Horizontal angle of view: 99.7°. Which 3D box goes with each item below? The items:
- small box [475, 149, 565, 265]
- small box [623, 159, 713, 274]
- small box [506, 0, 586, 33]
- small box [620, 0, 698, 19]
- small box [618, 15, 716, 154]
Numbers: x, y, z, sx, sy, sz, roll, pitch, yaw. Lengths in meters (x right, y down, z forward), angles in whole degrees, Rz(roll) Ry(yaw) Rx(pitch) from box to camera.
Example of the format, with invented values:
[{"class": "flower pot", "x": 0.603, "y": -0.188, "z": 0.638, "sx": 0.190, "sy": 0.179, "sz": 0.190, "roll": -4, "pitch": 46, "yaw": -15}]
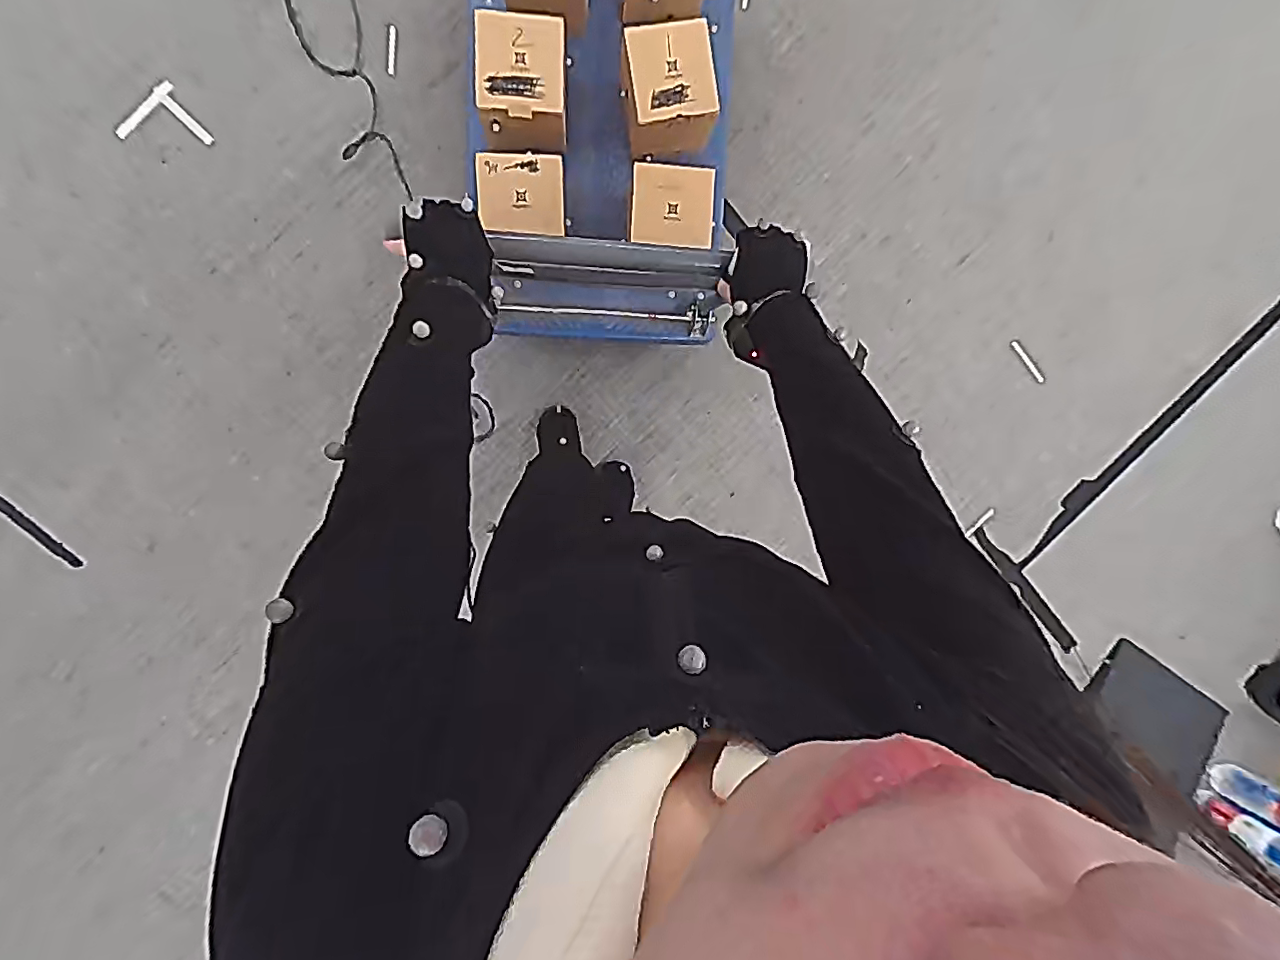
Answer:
[{"class": "small box", "x": -0.242, "y": -0.556, "z": 1.125, "sx": 0.168, "sy": 0.176, "sz": 0.179, "roll": -2, "pitch": 97, "yaw": -7}, {"class": "small box", "x": 0.054, "y": -0.553, "z": 1.160, "sx": 0.168, "sy": 0.176, "sz": 0.179, "roll": 2, "pitch": 96, "yaw": -7}, {"class": "small box", "x": -0.188, "y": -1.049, "z": 1.073, "sx": 0.168, "sy": 0.176, "sz": 0.179, "roll": 3, "pitch": 97, "yaw": -6}, {"class": "small box", "x": 0.044, "y": -1.080, "z": 1.096, "sx": 0.168, "sy": 0.176, "sz": 0.179, "roll": -1, "pitch": 97, "yaw": -6}, {"class": "small box", "x": 0.051, "y": -0.809, "z": 1.128, "sx": 0.168, "sy": 0.176, "sz": 0.179, "roll": -10, "pitch": 97, "yaw": -5}]
